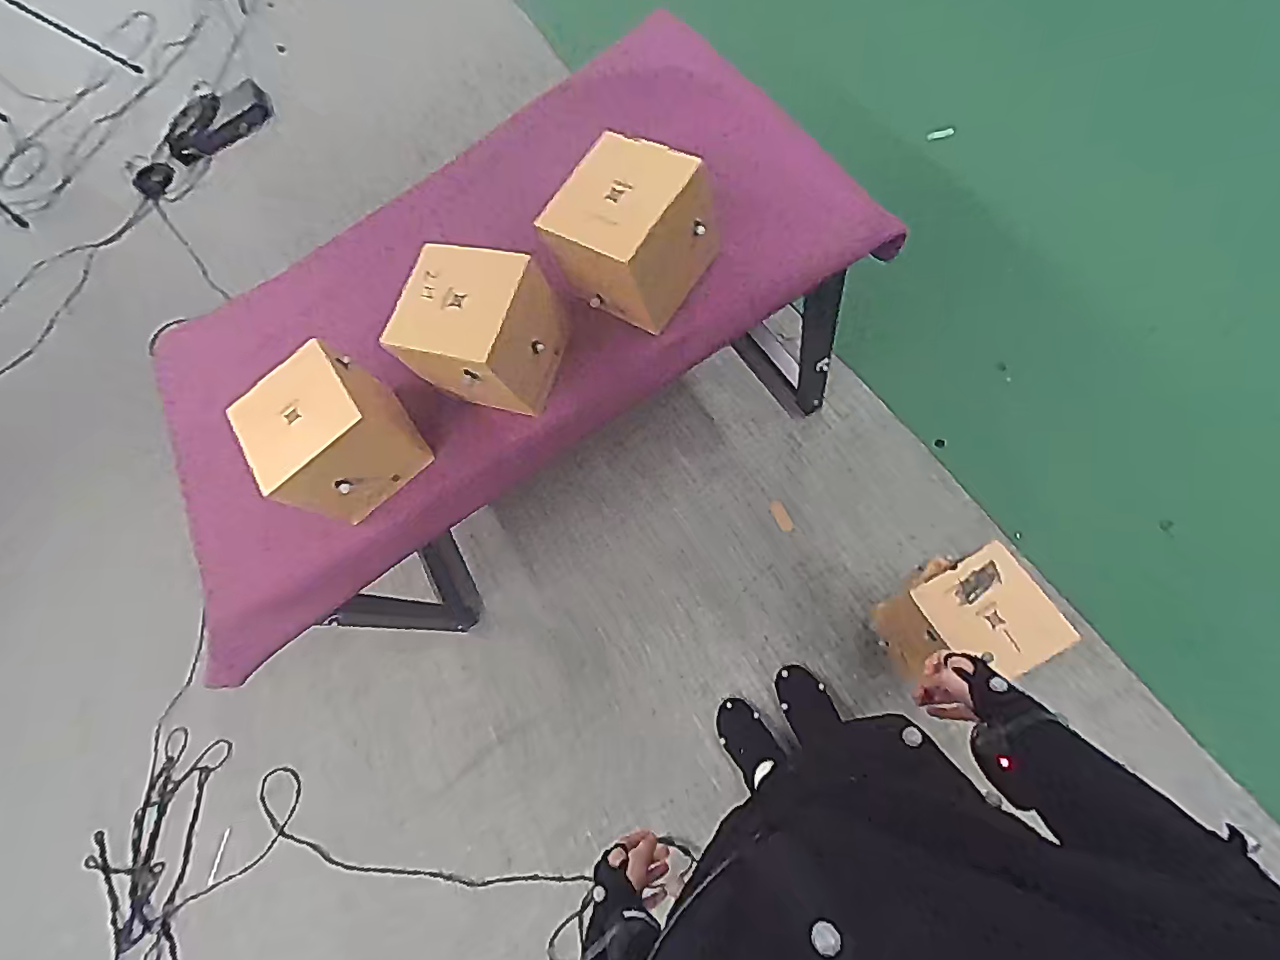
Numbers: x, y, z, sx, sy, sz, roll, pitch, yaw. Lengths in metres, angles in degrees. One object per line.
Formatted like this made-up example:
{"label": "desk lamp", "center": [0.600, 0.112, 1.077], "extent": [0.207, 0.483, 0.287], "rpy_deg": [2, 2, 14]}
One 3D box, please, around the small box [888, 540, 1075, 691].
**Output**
{"label": "small box", "center": [0.544, 0.226, 0.896], "extent": [0.168, 0.176, 0.179], "rpy_deg": [-31, 70, 2]}

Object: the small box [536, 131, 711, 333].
{"label": "small box", "center": [-0.011, -0.350, 0.783], "extent": [0.168, 0.176, 0.179], "rpy_deg": [32, 83, 23]}

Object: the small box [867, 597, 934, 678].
{"label": "small box", "center": [0.623, 0.328, 1.199], "extent": [0.179, 0.176, 0.168], "rpy_deg": [-24, 70, 6]}

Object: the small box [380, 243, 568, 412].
{"label": "small box", "center": [-0.229, -0.215, 0.793], "extent": [0.179, 0.176, 0.168], "rpy_deg": [14, 76, 18]}

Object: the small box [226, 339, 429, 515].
{"label": "small box", "center": [-0.452, -0.065, 0.803], "extent": [0.168, 0.176, 0.179], "rpy_deg": [-40, 67, -1]}
